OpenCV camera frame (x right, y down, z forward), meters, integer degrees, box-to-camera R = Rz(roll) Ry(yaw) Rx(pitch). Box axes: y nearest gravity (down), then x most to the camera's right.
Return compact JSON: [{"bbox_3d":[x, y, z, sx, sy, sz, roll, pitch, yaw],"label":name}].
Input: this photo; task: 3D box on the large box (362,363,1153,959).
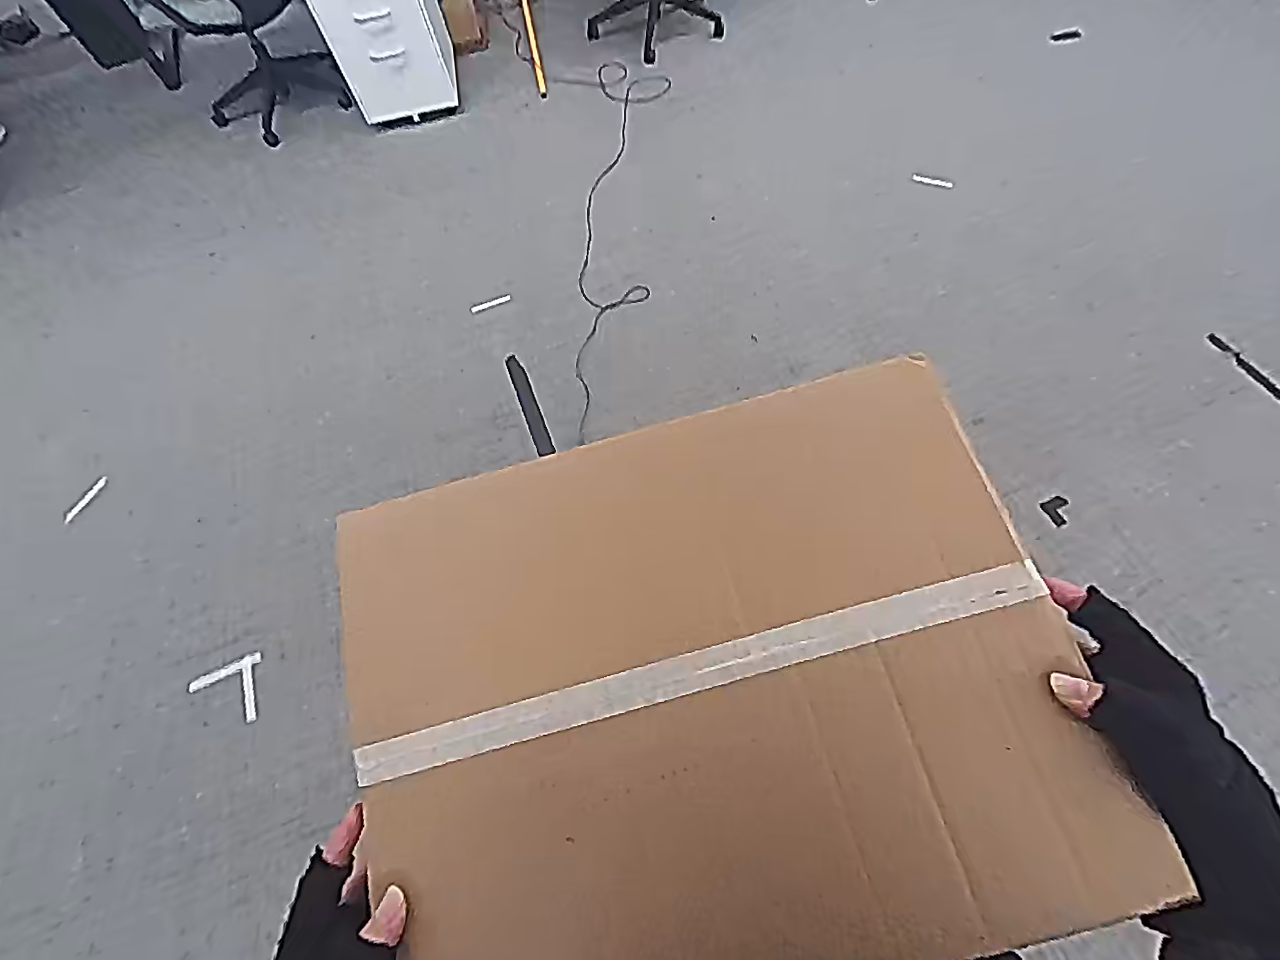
[{"bbox_3d":[0.048,0.159,0.465,0.408,0.320,0.320,-16,72,1],"label":"large box"}]
